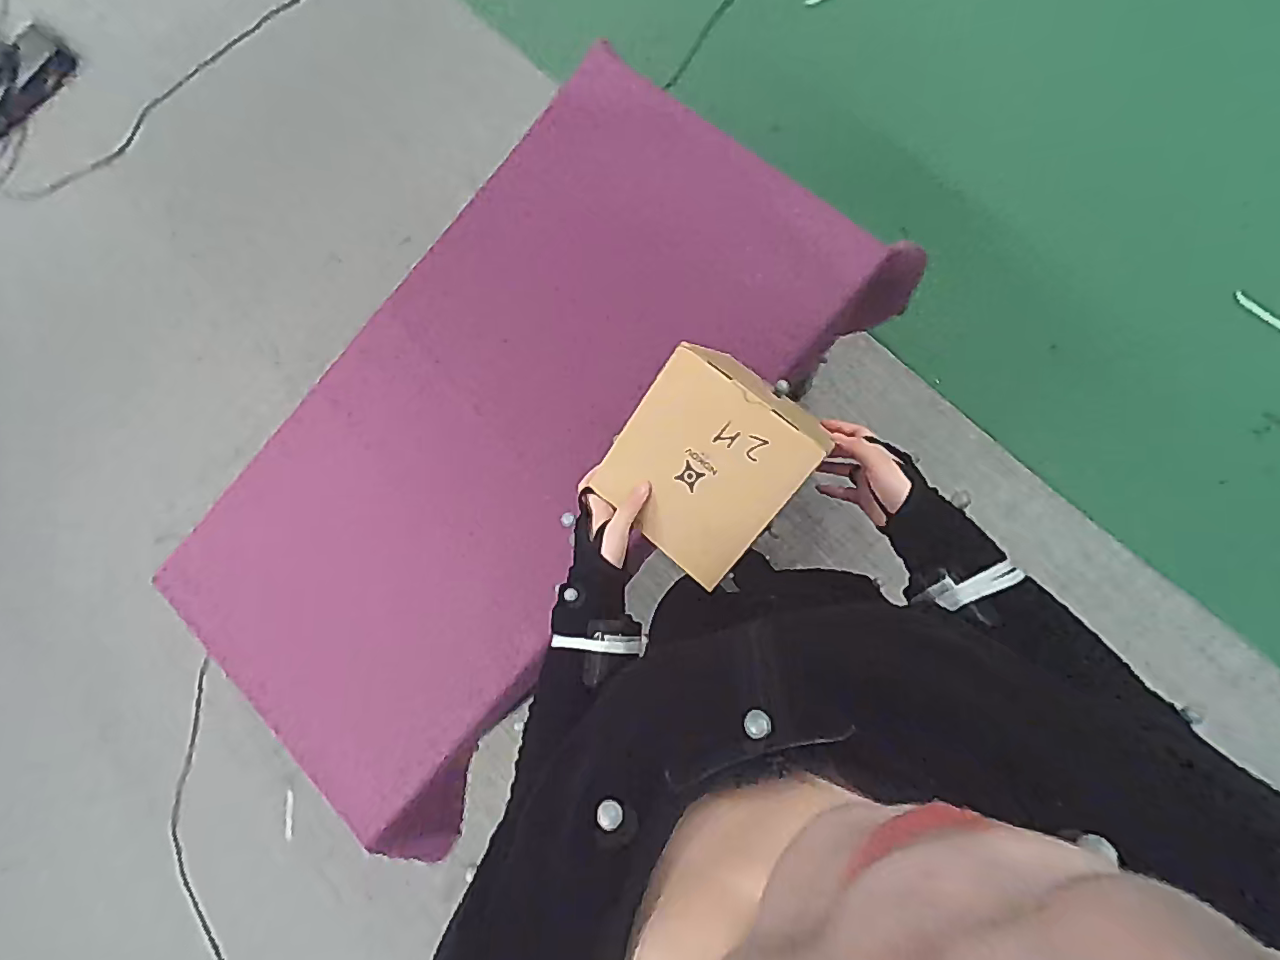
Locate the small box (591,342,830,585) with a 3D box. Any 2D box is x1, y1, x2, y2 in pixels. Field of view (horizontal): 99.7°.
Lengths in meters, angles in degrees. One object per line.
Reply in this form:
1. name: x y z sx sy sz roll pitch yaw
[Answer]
1. small box: 0.085 -0.024 0.580 0.168 0.176 0.179 40 112 12
